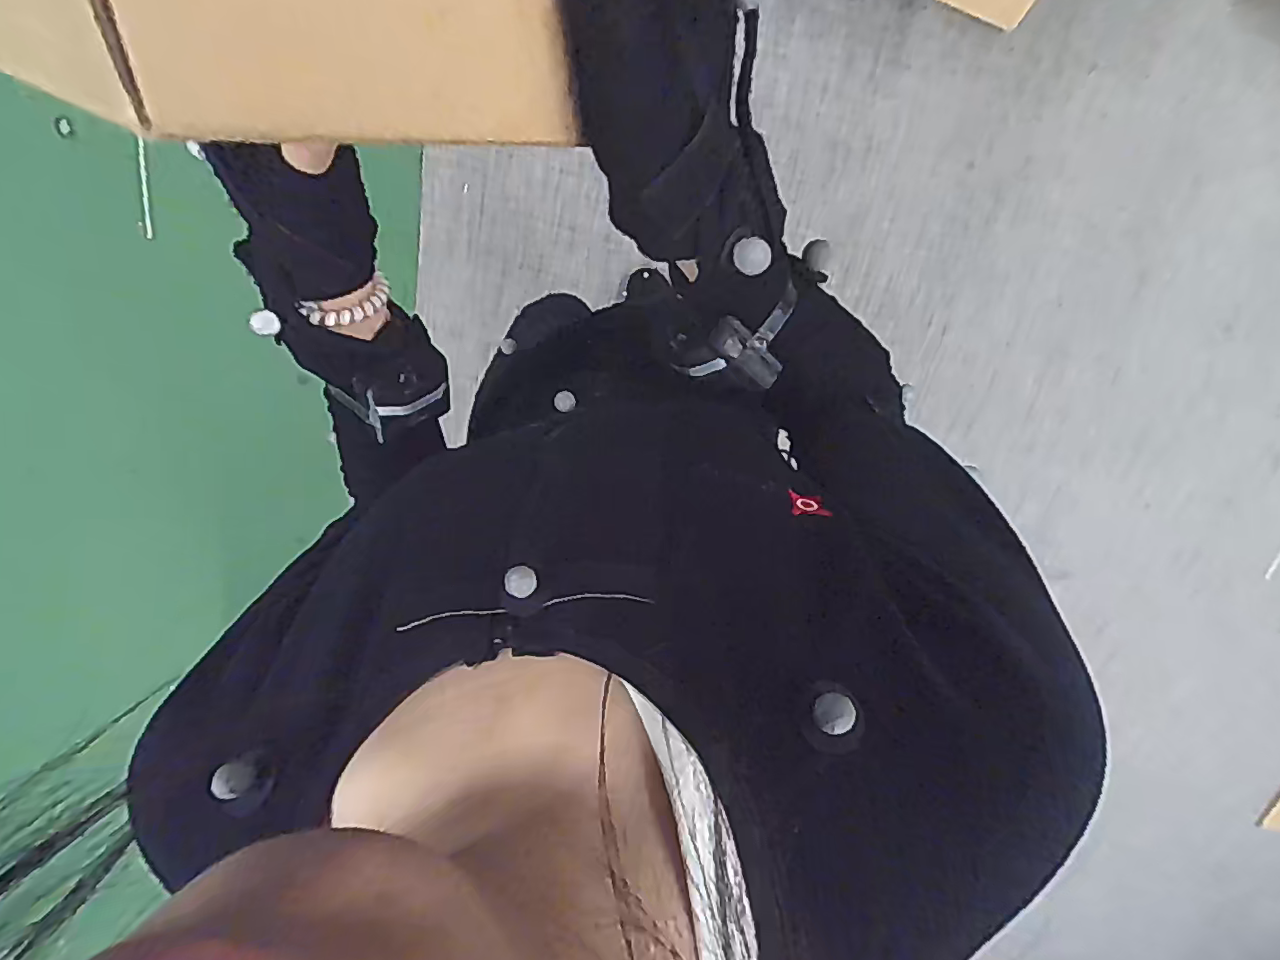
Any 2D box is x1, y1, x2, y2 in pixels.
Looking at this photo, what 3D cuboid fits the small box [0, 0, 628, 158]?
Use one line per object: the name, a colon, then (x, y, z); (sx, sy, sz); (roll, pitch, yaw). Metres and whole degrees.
small box: (-0.108, -0.212, 0.159); (0.168, 0.176, 0.179); (28, 129, 22)
